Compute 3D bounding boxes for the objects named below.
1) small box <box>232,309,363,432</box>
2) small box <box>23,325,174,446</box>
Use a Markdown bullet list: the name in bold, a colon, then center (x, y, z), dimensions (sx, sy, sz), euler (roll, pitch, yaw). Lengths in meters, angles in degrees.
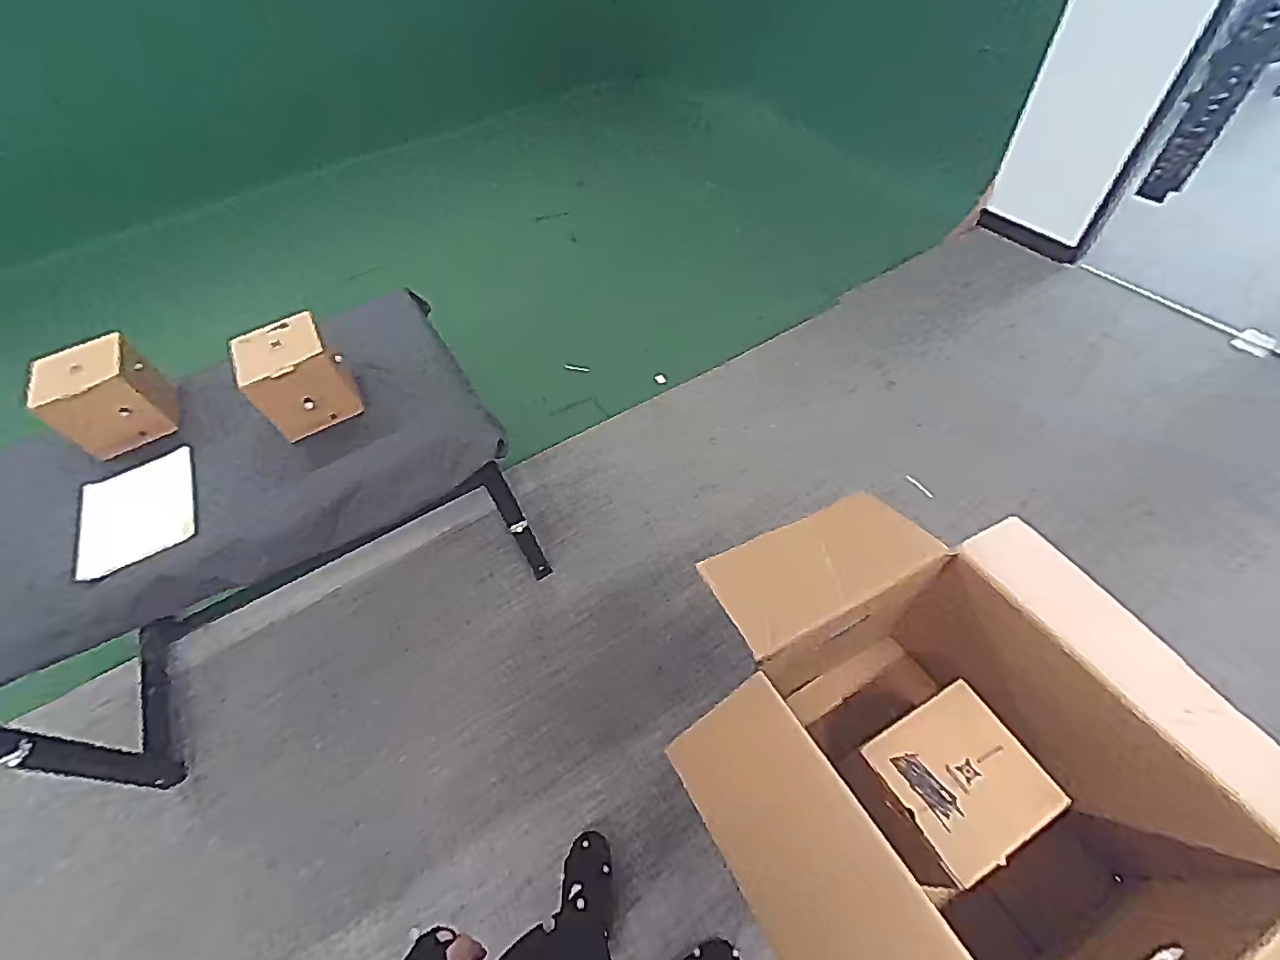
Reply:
- **small box**: center (-0.728, -0.226, 1.162), dimensions (0.168, 0.176, 0.179), euler (-28, 57, -14)
- **small box**: center (-1.159, -0.197, 1.172), dimensions (0.168, 0.176, 0.179), euler (-29, 56, -15)
